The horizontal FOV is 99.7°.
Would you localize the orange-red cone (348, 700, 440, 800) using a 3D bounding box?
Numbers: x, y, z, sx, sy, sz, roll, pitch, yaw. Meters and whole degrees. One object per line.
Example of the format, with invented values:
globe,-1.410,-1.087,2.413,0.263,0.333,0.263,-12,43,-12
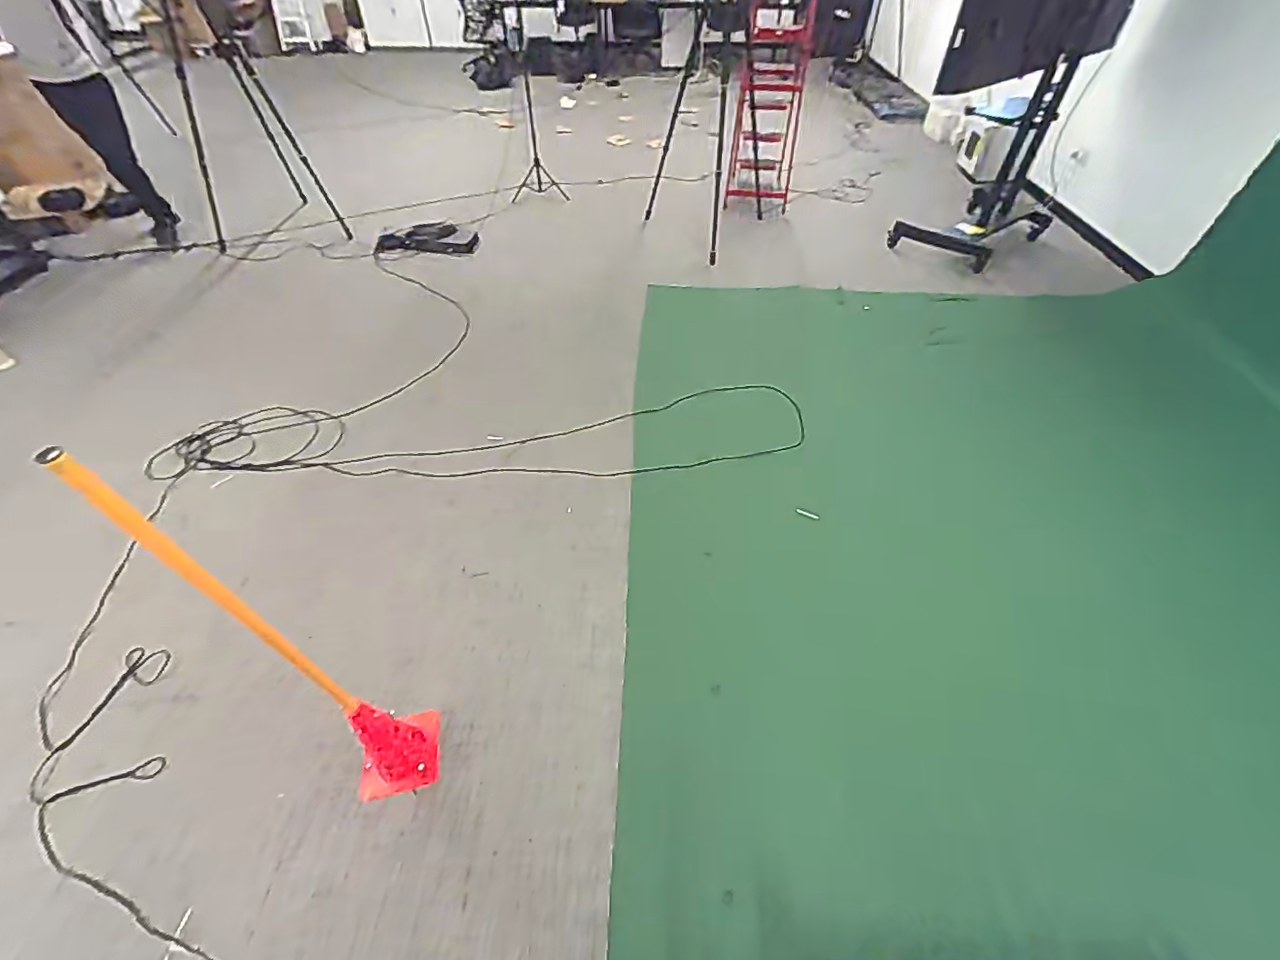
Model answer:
orange-red cone,-0.657,0.643,1.369,0.198,0.360,0.199,-9,47,-9
